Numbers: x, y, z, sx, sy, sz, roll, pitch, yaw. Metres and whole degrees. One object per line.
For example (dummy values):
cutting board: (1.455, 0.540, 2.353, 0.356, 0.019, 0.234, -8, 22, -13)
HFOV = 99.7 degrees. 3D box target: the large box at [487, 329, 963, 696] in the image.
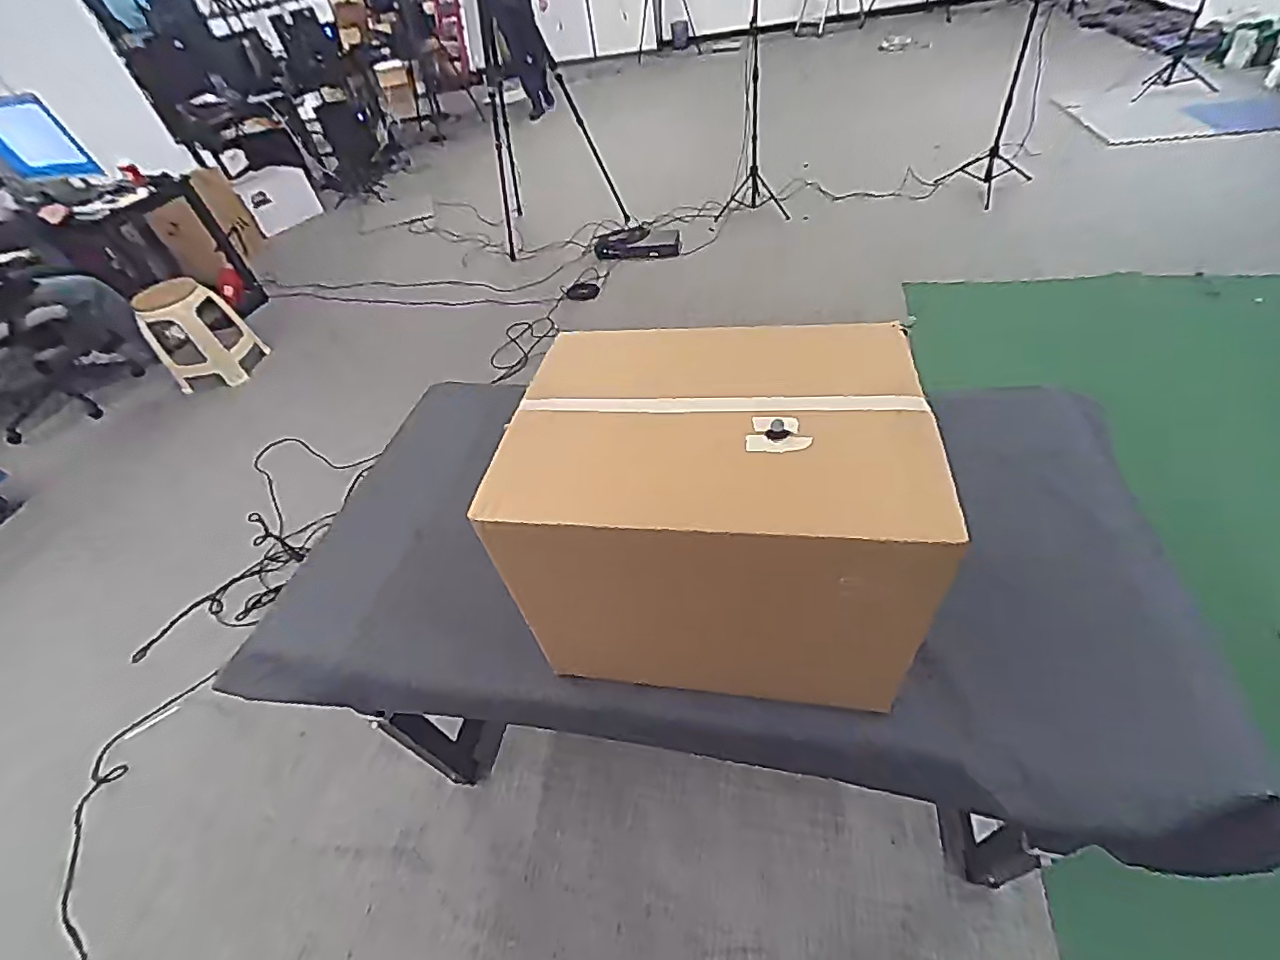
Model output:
large box: (0.093, 0.033, 0.655, 0.408, 0.320, 0.320, 3, 47, 11)
